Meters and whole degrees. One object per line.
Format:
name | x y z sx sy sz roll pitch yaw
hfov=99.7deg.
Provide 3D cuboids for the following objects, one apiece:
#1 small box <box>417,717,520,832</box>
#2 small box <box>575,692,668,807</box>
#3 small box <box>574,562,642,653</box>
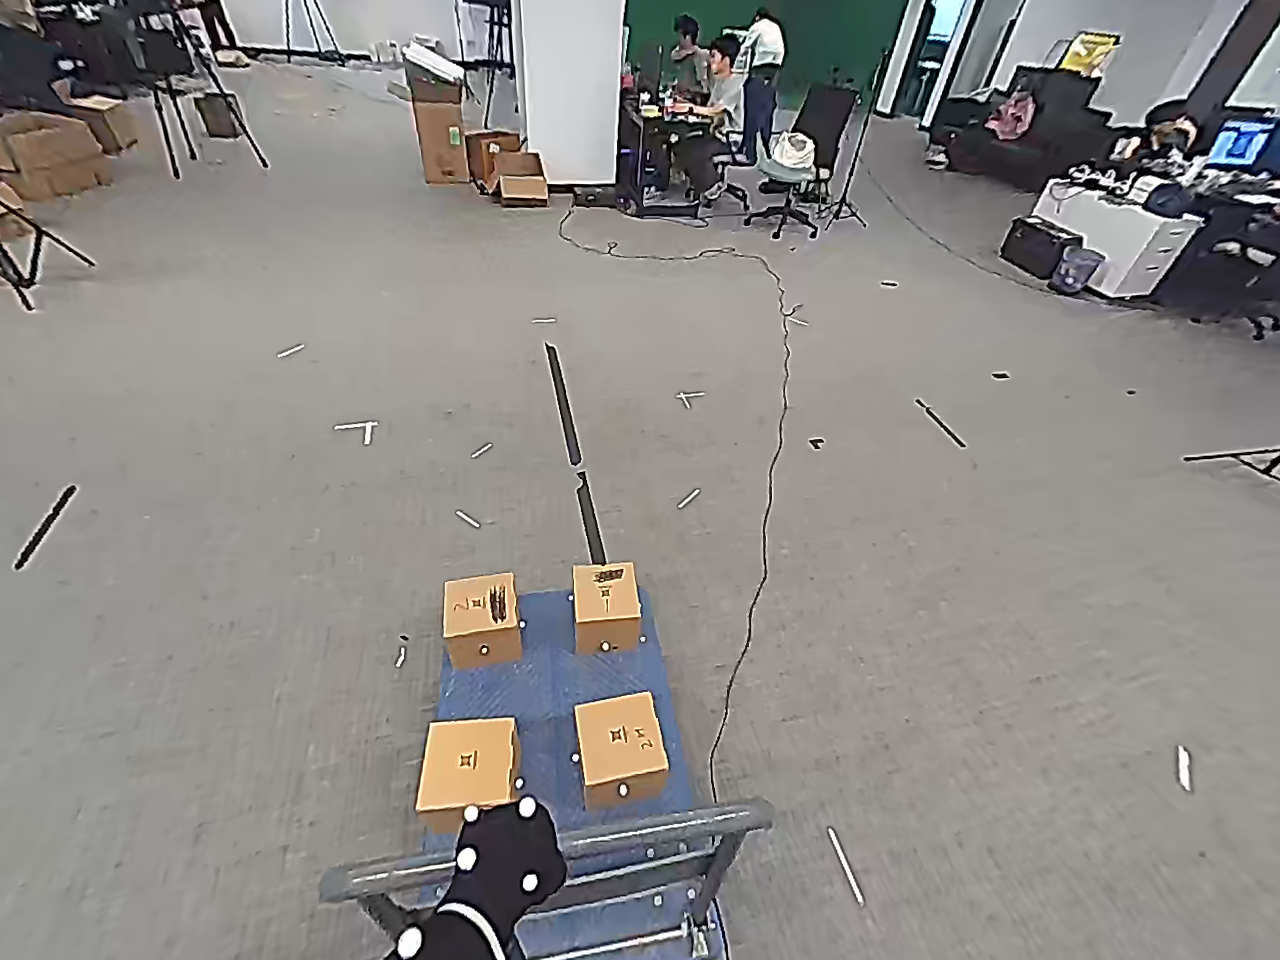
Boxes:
small box | -0.350 0.621 1.139 0.179 0.176 0.168 0 43 -8
small box | -0.046 0.598 1.195 0.179 0.176 0.168 -6 44 -11
small box | -0.092 0.345 1.460 0.168 0.176 0.179 -2 45 -8
